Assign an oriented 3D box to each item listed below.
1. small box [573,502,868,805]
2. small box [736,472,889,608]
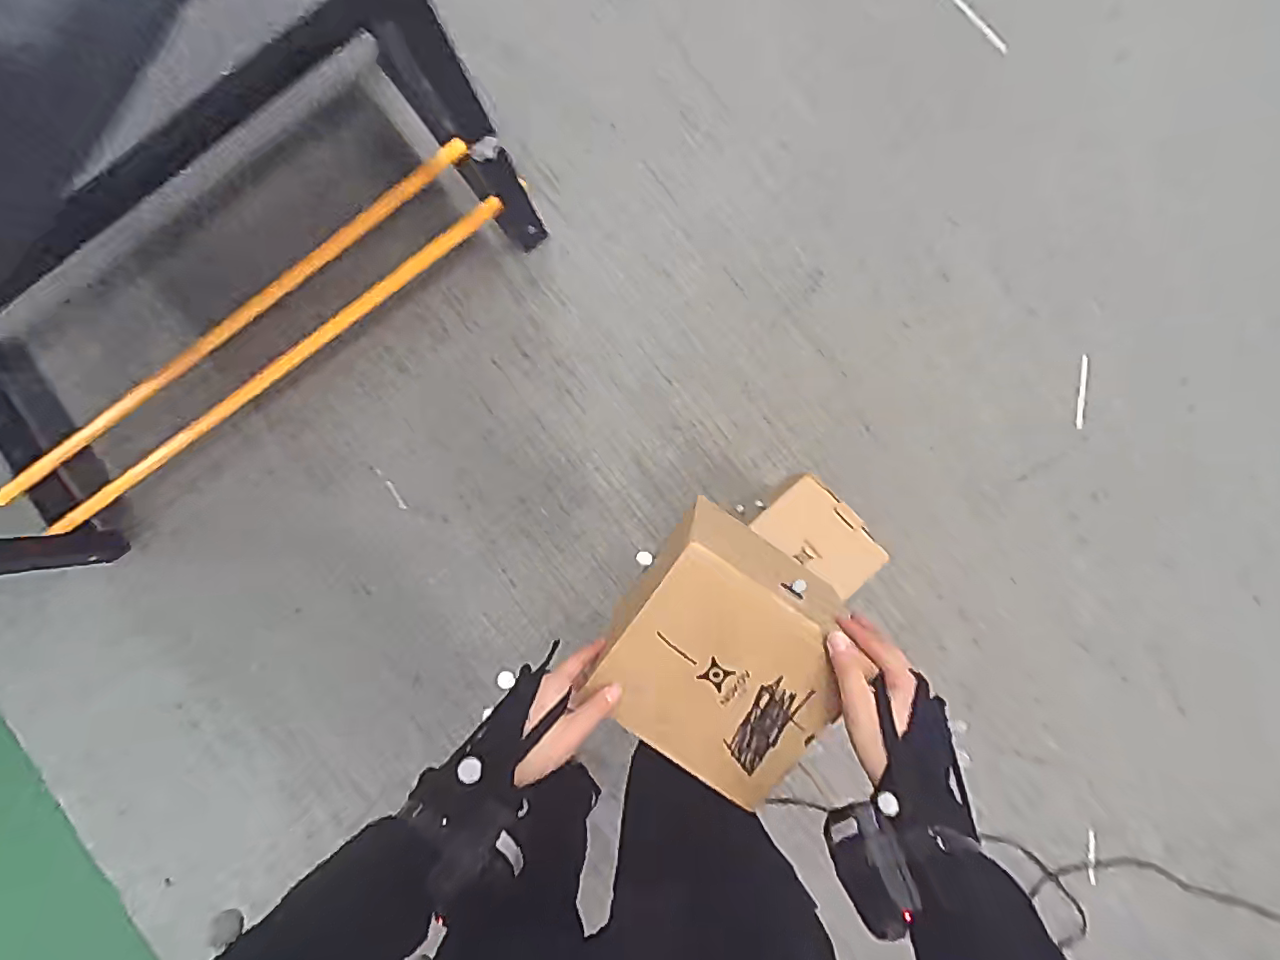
[{"bbox_3d":[0.070,0.141,0.503,0.179,0.176,0.168,34,103,0],"label":"small box"},{"bbox_3d":[0.240,0.106,0.845,0.179,0.176,0.168,-43,85,2],"label":"small box"}]
